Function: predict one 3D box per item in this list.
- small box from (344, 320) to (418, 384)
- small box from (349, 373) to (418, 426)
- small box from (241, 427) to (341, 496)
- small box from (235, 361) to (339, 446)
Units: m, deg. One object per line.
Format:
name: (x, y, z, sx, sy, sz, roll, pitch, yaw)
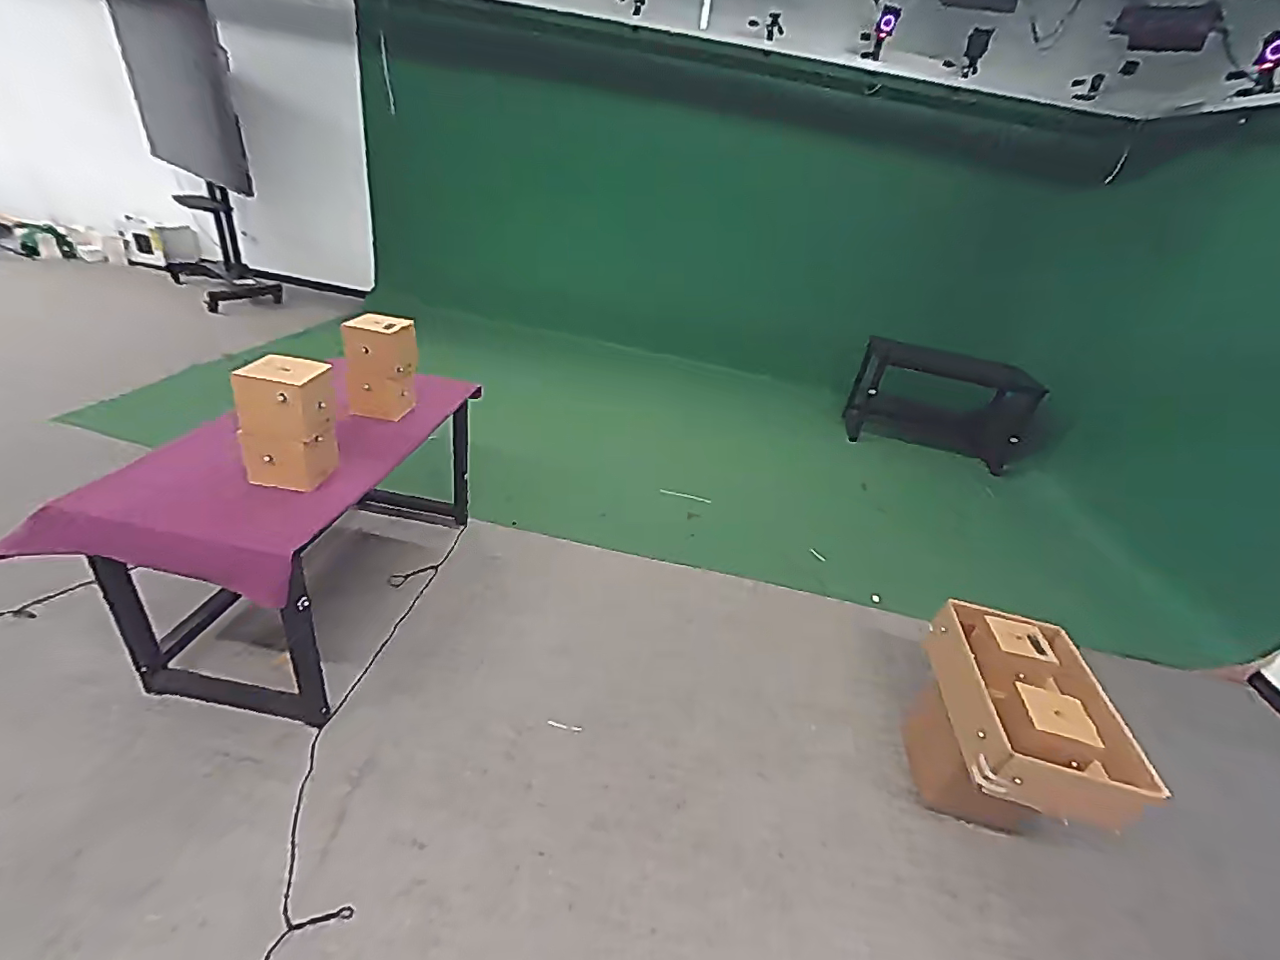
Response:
small box: (-0.906, -0.450, 1.914, 0.179, 0.176, 0.168, 11, 30, 4)
small box: (-0.940, -0.312, 1.998, 0.179, 0.176, 0.168, 9, 31, 1)
small box: (-1.002, -0.070, 1.568, 0.179, 0.176, 0.168, 9, 31, -3)
small box: (-0.957, -0.208, 1.486, 0.179, 0.176, 0.168, 10, 29, -2)
